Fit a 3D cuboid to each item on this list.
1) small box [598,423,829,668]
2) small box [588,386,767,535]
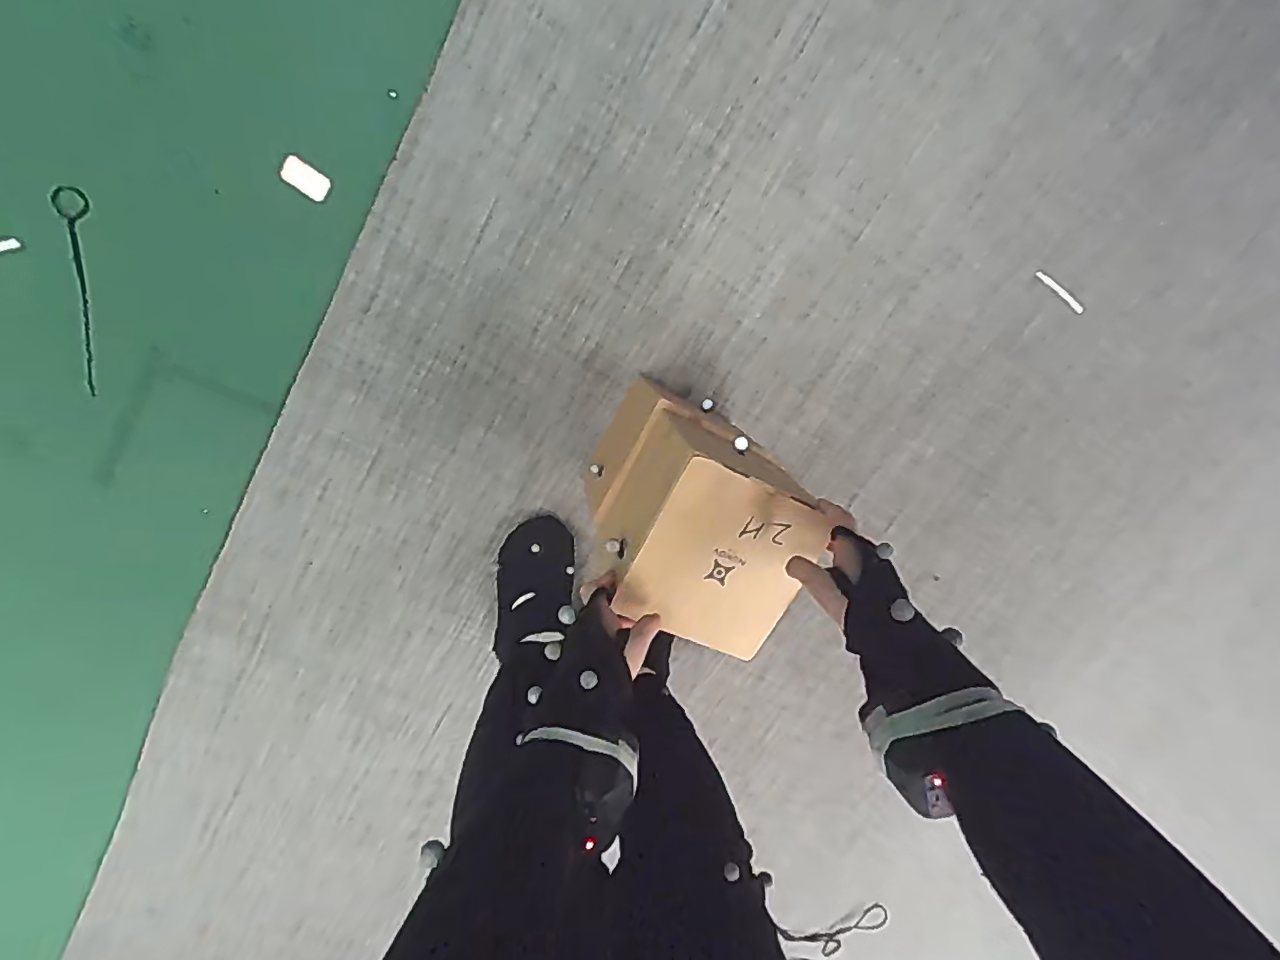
[{"bbox_3d":[0.063,0.062,0.588,0.168,0.176,0.179,24,105,-15],"label":"small box"},{"bbox_3d":[0.037,-0.006,0.739,0.168,0.176,0.179,25,104,-17],"label":"small box"}]
